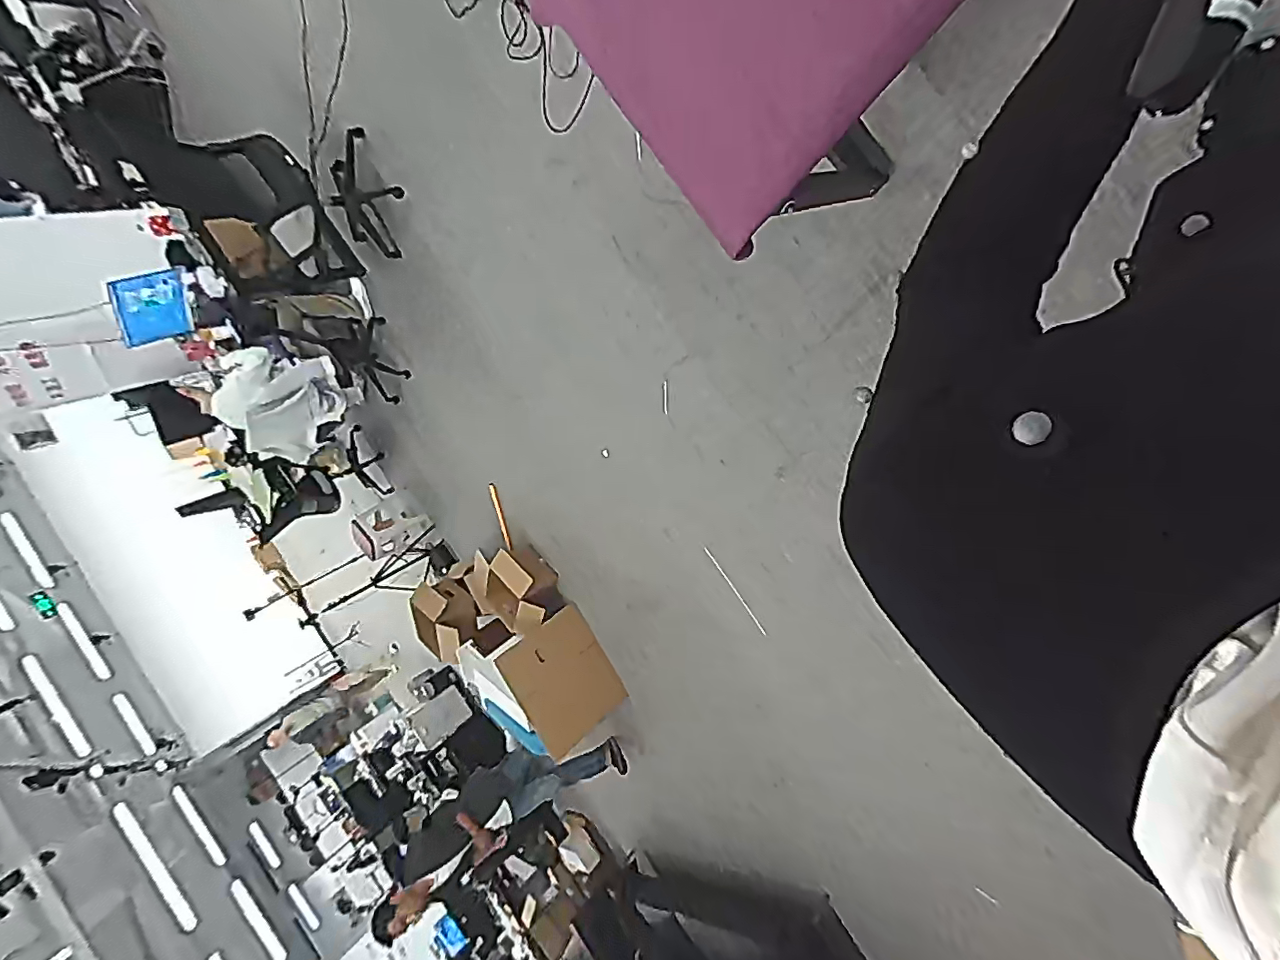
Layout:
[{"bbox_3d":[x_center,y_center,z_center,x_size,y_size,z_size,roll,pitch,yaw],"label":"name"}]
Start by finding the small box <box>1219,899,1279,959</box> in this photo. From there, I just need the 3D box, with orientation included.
[{"bbox_3d":[1.419,1.104,1.204,0.168,0.176,0.179,-6,108,46],"label":"small box"}]
